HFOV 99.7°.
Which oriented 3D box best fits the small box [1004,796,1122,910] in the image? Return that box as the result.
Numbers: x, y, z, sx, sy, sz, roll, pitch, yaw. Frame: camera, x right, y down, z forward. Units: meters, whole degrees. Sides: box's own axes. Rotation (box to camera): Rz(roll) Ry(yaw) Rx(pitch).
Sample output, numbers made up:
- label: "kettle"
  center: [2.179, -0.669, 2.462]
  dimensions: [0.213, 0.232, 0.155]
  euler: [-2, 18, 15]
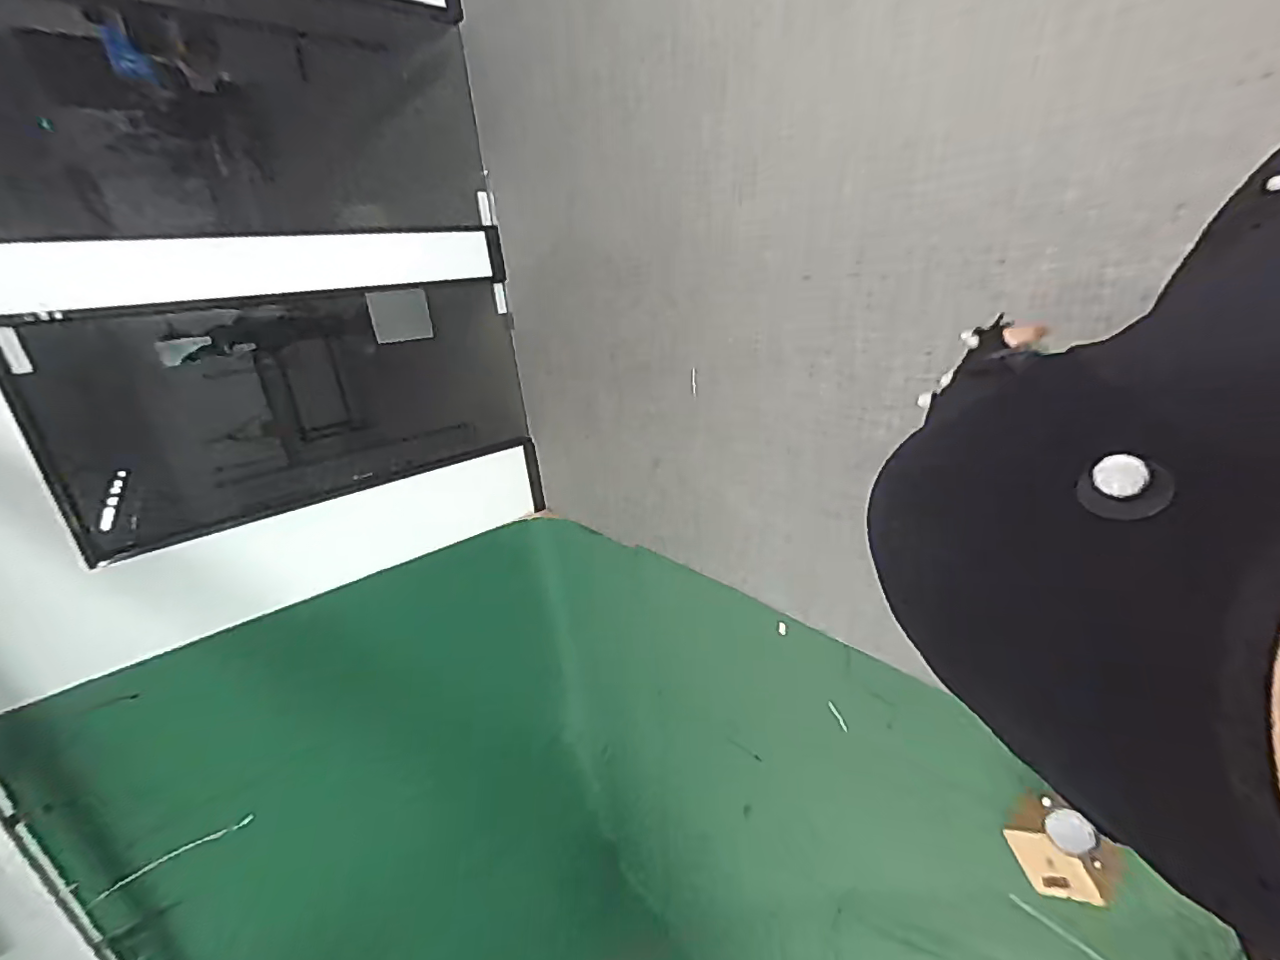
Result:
- label: "small box"
  center: [1.131, 0.983, 1.442]
  dimensions: [0.168, 0.176, 0.179]
  euler: [-42, 72, 53]

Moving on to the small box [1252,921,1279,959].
- label: "small box"
  center: [1.415, 1.056, 1.107]
  dimensions: [0.179, 0.176, 0.168]
  euler: [58, 143, 15]
